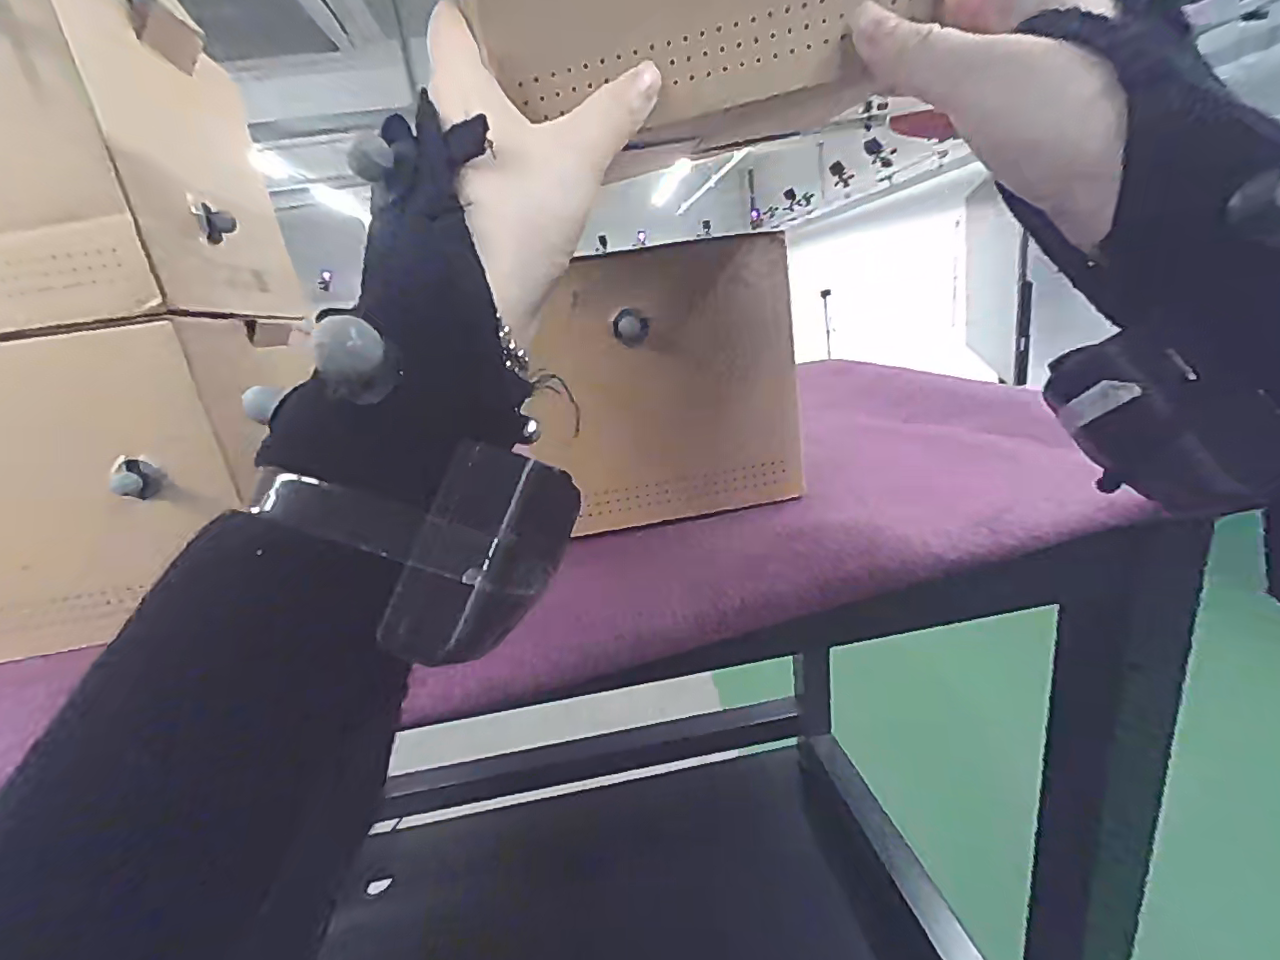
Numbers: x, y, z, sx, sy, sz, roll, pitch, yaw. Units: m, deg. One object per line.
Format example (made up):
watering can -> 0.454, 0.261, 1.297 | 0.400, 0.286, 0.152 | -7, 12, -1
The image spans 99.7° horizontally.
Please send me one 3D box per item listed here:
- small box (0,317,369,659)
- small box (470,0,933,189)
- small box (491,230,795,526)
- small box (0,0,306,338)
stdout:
small box -> -0.309, -0.009, 0.359 | 0.179, 0.176, 0.168 | -11, 16, -6
small box -> 0.012, -0.245, 0.252 | 0.179, 0.176, 0.168 | -13, 24, 3
small box -> 0.003, -0.072, 0.412 | 0.179, 0.176, 0.168 | -9, 14, -3
small box -> -0.338, -0.164, 0.314 | 0.179, 0.176, 0.168 | -10, 16, -8
